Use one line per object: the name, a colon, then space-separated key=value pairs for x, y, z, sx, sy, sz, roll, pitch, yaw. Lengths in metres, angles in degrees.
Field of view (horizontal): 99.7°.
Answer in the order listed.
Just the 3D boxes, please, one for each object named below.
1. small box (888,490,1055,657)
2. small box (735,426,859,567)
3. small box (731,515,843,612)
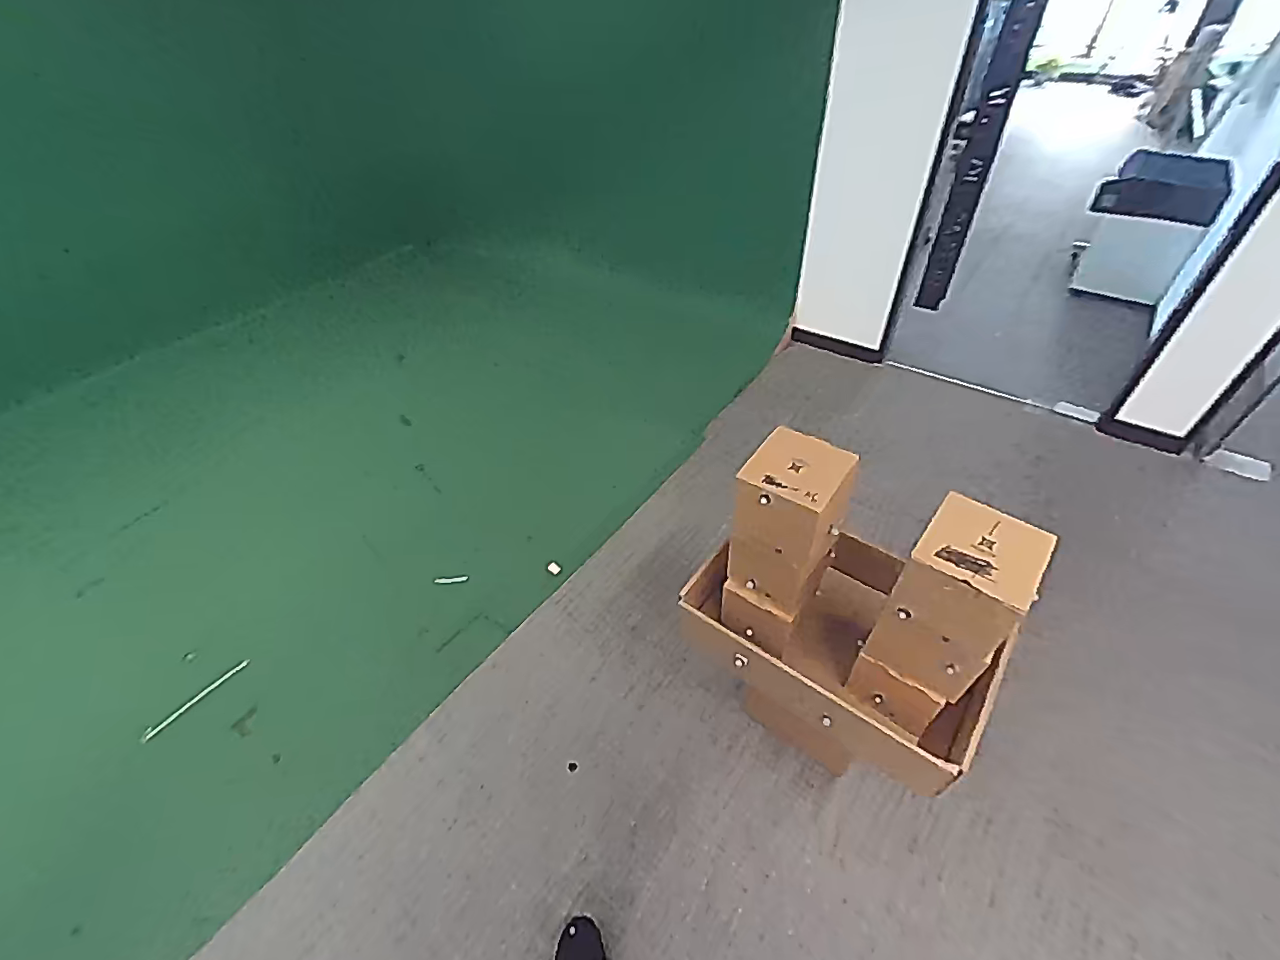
small box: x=0.535 y=0.156 z=0.895 sx=0.168 sy=0.176 sz=0.179 roll=30 pitch=55 yaw=28
small box: x=0.294 y=0.031 z=1.043 sx=0.168 sy=0.176 sz=0.179 roll=26 pitch=51 yaw=28
small box: x=0.305 y=0.145 z=1.160 sx=0.168 sy=0.176 sz=0.179 roll=29 pitch=55 yaw=30
